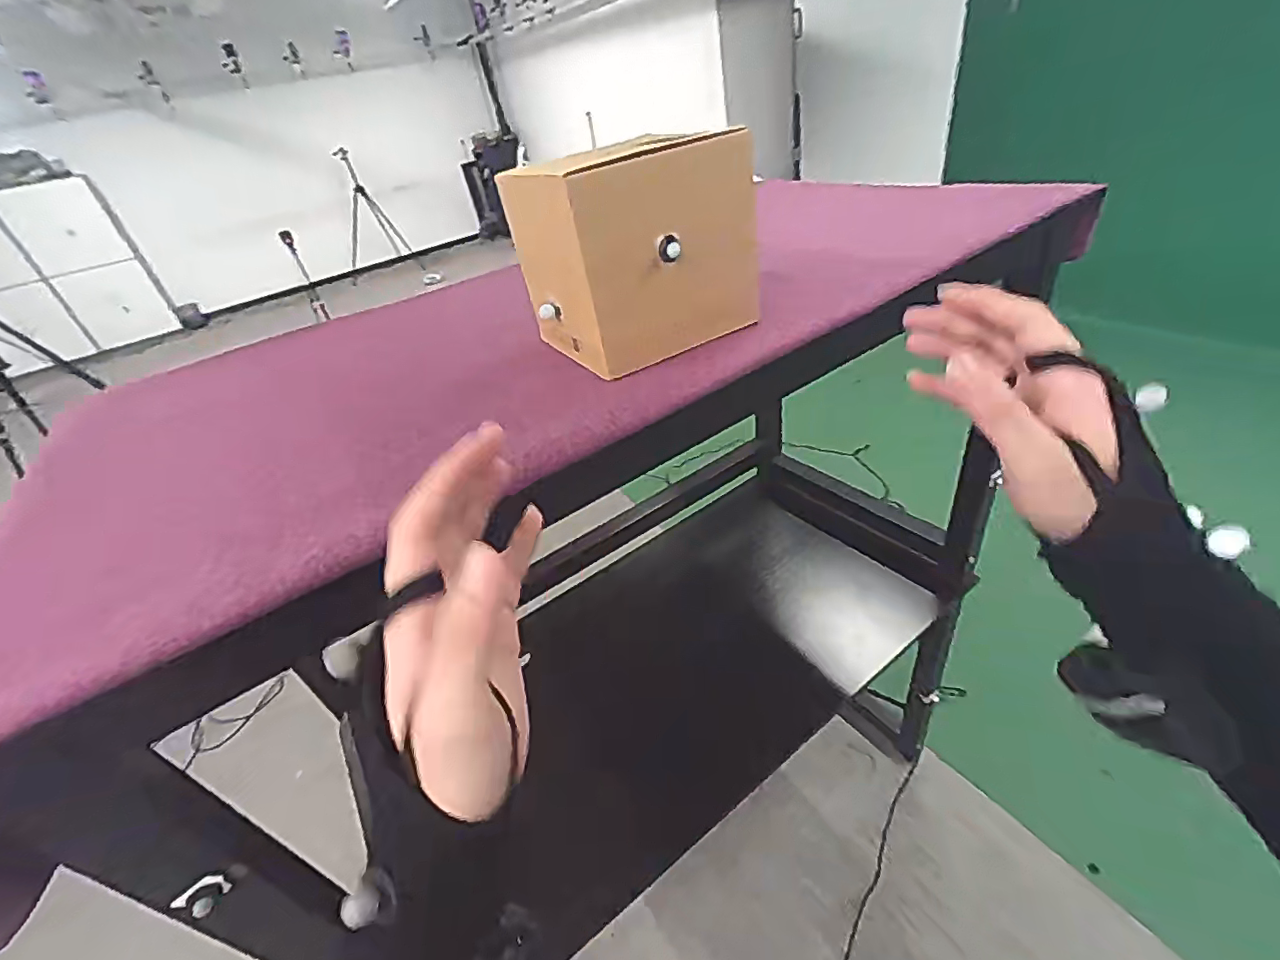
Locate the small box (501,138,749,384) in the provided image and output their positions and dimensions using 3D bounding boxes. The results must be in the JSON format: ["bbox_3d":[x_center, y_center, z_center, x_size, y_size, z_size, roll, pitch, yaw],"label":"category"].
[{"bbox_3d":[-0.009,-0.218,0.530,0.179,0.176,0.168,-26,36,-18],"label":"small box"}]
